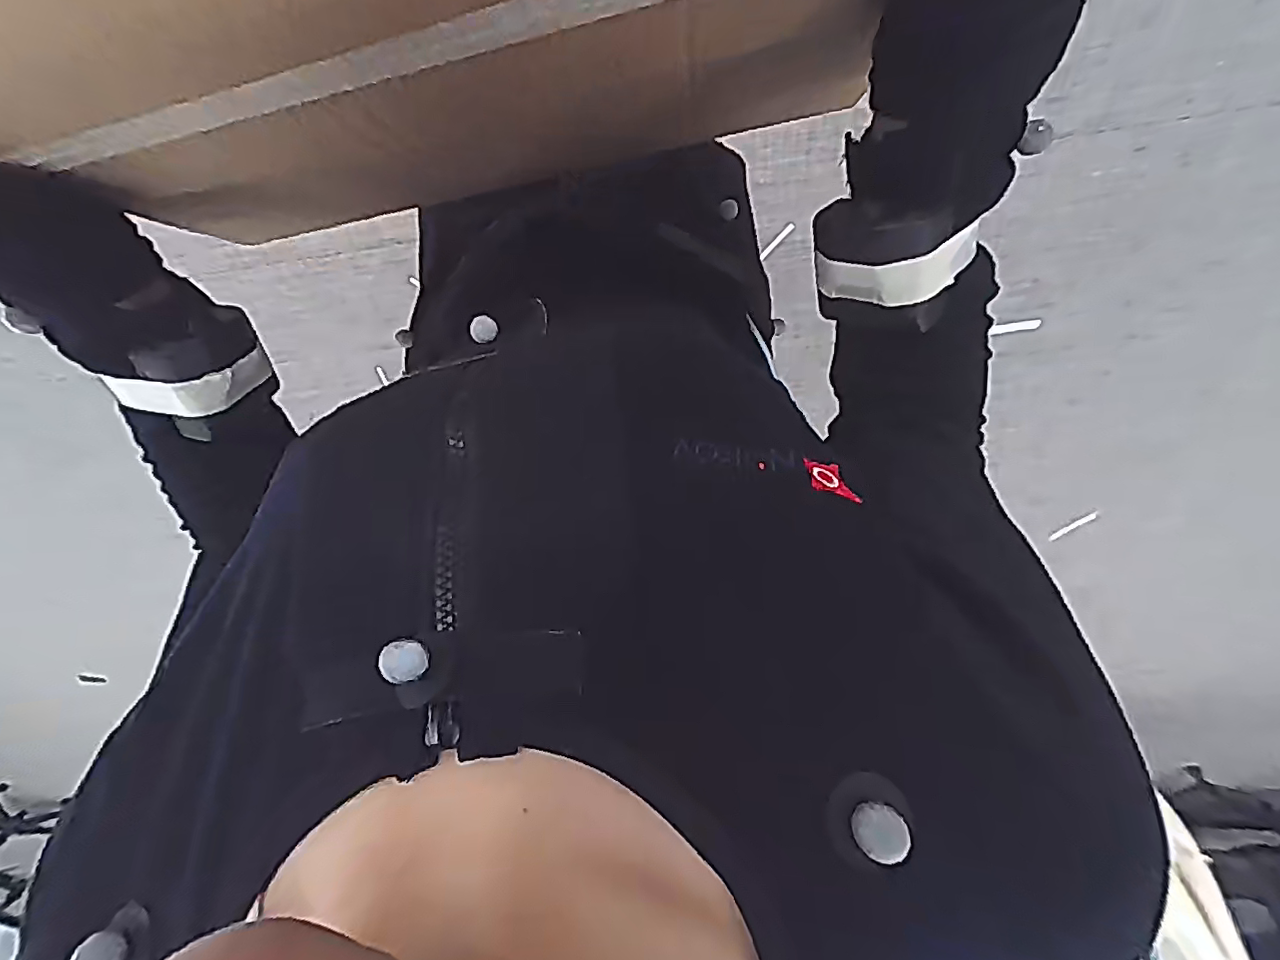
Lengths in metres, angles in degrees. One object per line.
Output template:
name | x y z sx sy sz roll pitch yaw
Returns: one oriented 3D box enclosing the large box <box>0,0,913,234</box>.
large box | -0.108 -0.314 0.172 0.408 0.320 0.320 -9 102 6
